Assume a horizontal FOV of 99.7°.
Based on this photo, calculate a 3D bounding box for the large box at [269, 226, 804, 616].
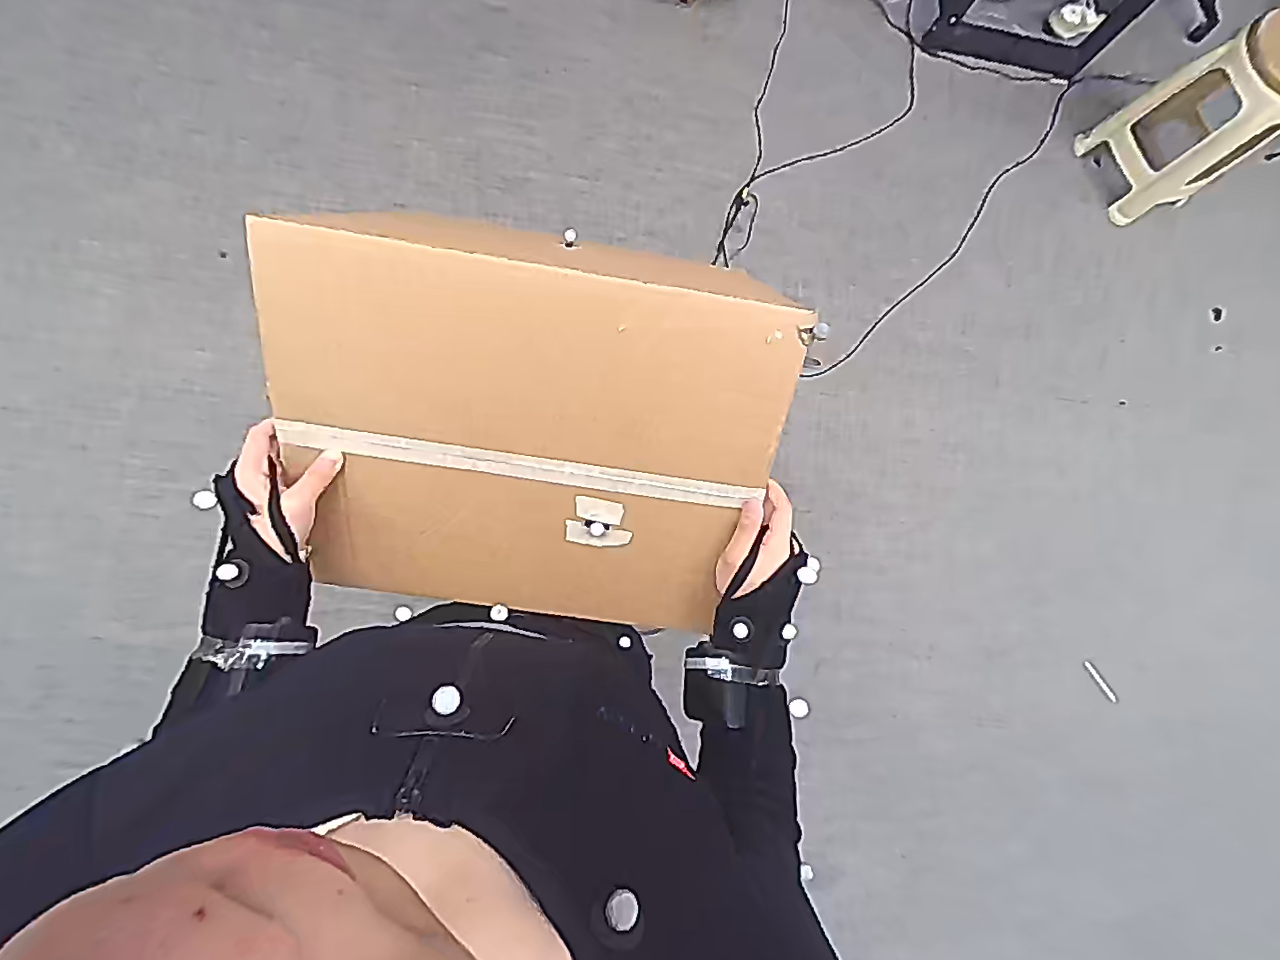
[{"bbox_3d":[-0.093,-0.086,0.597,0.408,0.320,0.320,7,118,-4],"label":"large box"}]
